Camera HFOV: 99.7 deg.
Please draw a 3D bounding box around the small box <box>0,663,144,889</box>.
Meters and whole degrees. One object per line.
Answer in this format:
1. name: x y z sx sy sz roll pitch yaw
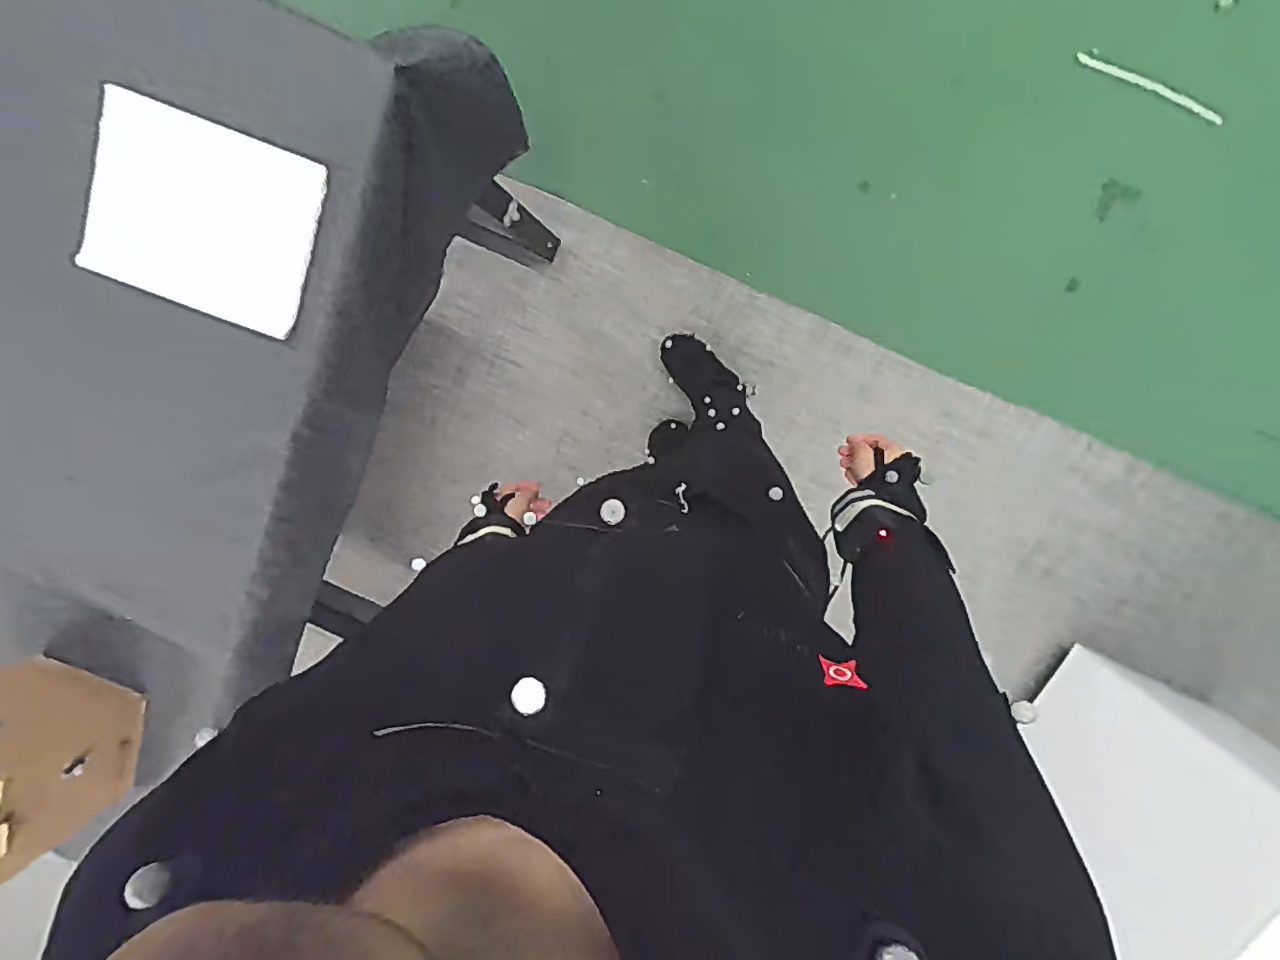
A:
1. small box: -0.792 0.363 0.687 0.179 0.176 0.168 19 101 4
